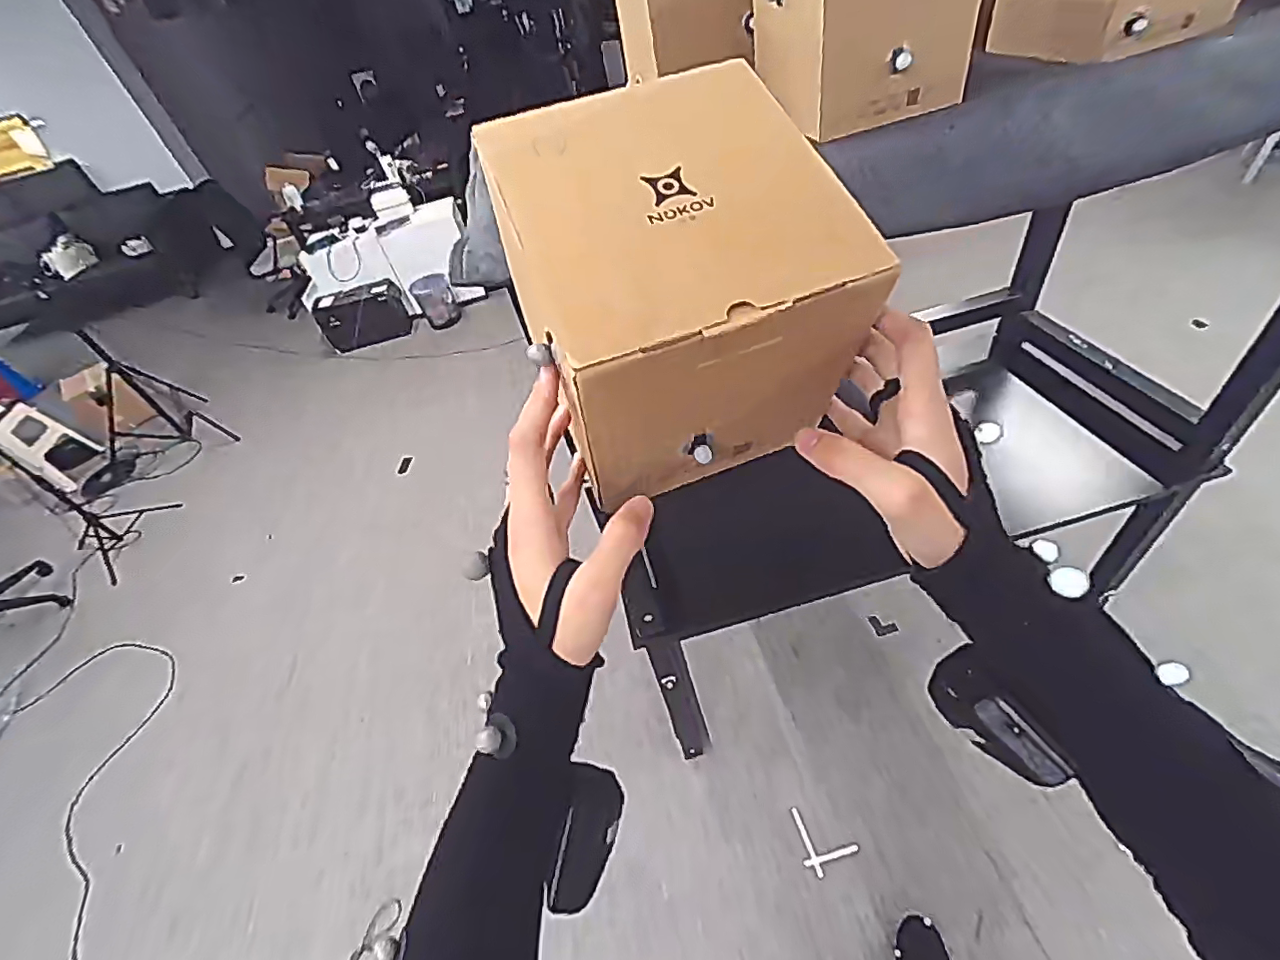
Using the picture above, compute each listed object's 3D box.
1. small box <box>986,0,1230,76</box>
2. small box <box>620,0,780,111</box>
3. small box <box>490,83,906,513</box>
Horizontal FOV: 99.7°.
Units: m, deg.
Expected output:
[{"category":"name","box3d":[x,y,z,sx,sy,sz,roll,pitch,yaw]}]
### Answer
[{"category":"small box","box3d":[0.538,-0.579,0.608,0.168,0.176,0.179,-17,44,-3]},{"category":"small box","box3d":[0.079,-0.599,0.742,0.179,0.176,0.168,-18,45,-5]},{"category":"small box","box3d":[0.021,-0.105,0.350,0.168,0.176,0.179,-20,68,-9]}]
